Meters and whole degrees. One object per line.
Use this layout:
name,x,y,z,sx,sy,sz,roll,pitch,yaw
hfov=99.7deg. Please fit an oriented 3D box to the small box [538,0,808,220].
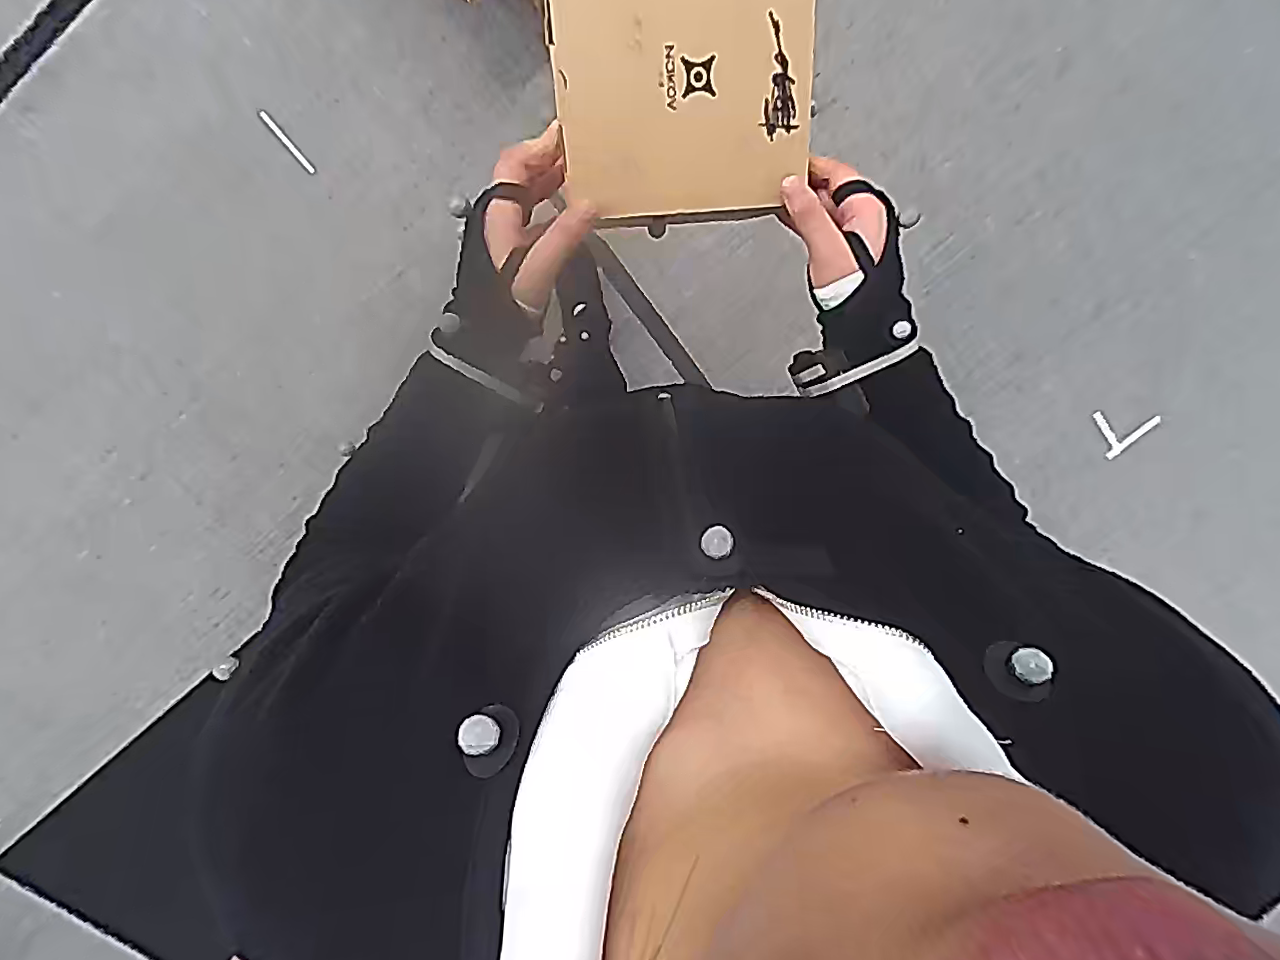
small box,0.020,-0.307,0.431,0.179,0.176,0.168,-5,113,-2
